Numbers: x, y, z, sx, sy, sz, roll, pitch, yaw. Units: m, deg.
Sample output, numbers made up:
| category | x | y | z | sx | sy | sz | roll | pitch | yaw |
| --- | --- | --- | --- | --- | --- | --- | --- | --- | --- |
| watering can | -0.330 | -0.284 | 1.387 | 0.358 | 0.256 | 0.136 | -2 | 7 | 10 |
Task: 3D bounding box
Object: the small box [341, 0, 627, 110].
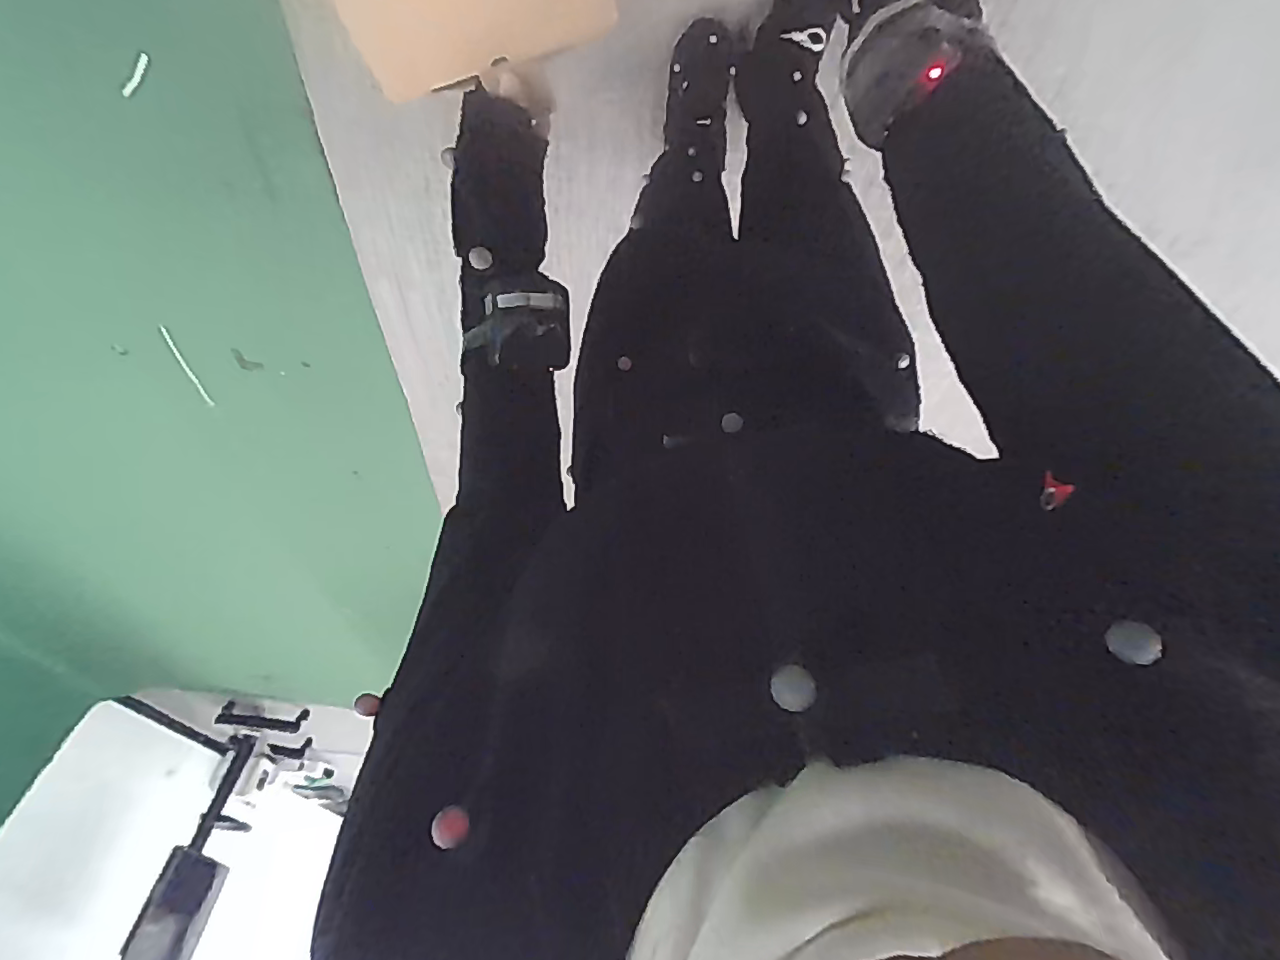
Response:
| category | x | y | z | sx | sy | sz | roll | pitch | yaw |
| --- | --- | --- | --- | --- | --- | --- | --- | --- | --- |
| small box | -0.107 | -0.378 | 0.329 | 0.168 | 0.176 | 0.179 | -10 | 146 | 12 |
